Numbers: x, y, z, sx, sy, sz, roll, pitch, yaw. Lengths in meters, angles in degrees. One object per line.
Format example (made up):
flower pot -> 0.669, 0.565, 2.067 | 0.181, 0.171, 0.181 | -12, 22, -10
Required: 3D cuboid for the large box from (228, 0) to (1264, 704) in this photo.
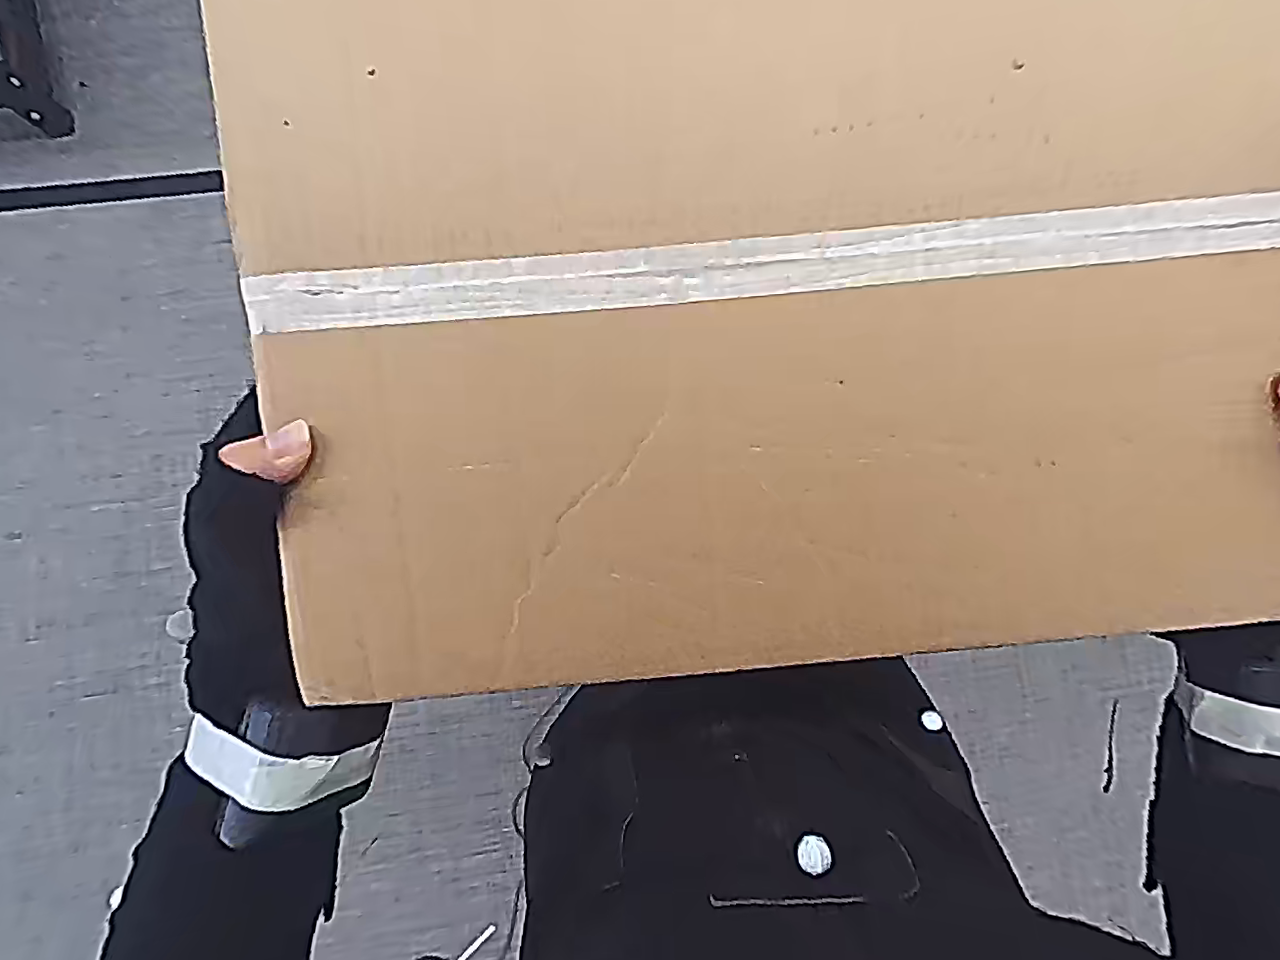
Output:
large box -> 0.051, -0.088, 0.366 | 0.408, 0.320, 0.320 | -5, 93, -1
